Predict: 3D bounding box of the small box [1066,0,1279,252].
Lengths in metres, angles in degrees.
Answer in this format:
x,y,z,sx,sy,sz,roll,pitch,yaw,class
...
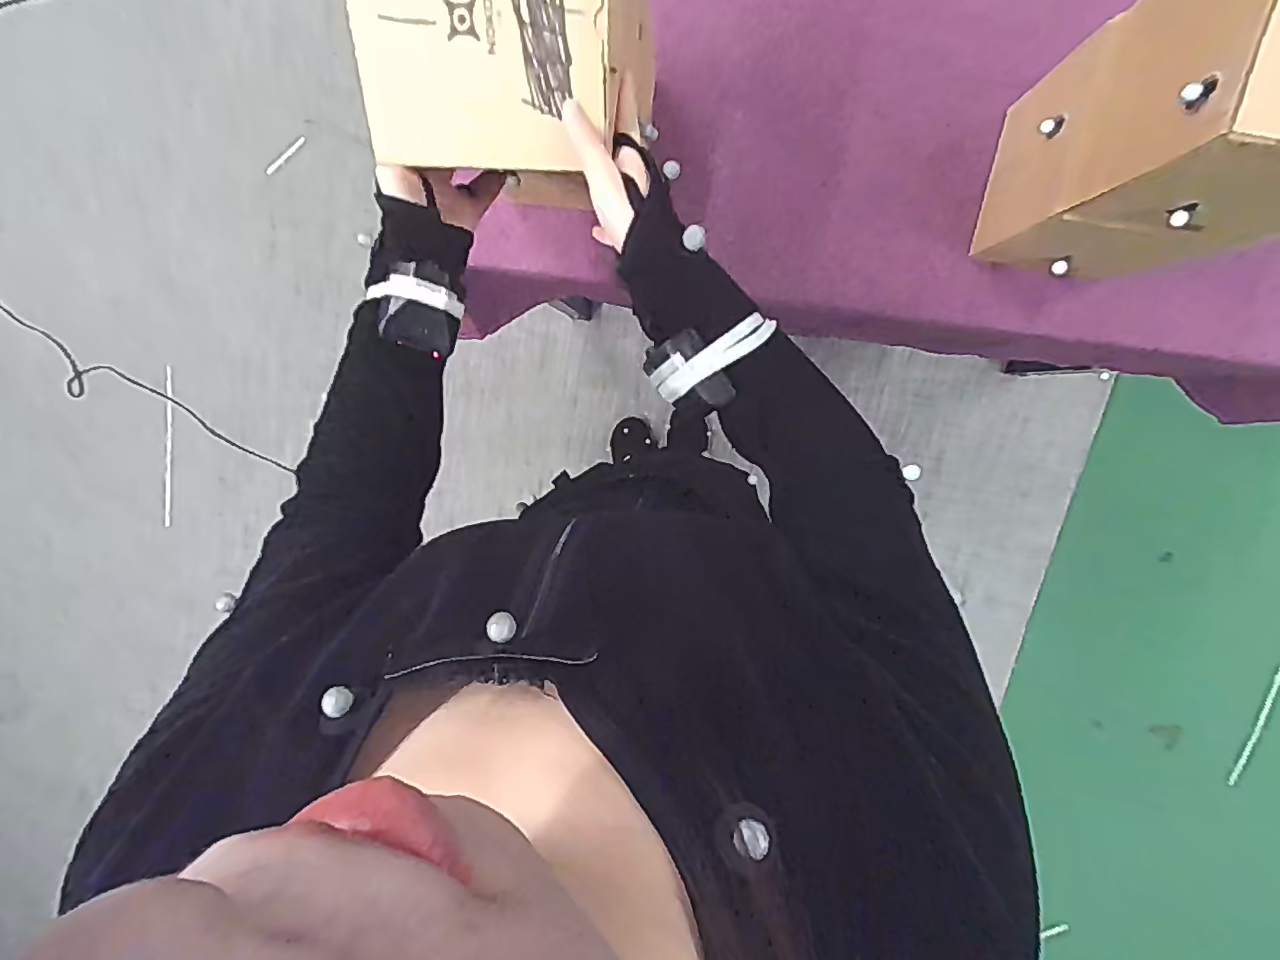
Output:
x,y,z,sx,sy,sz,roll,pitch,yaw,class
0.485,-0.298,0.418,0.168,0.176,0.179,12,101,3,small box

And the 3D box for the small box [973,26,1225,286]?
x,y,z,sx,sy,sz,roll,pitch,yaw,class
0.496,-0.325,0.578,0.168,0.176,0.179,12,100,3,small box

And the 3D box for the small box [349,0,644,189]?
x,y,z,sx,sy,sz,roll,pitch,yaw,class
-0.092,-0.326,0.418,0.179,0.176,0.168,6,120,7,small box
